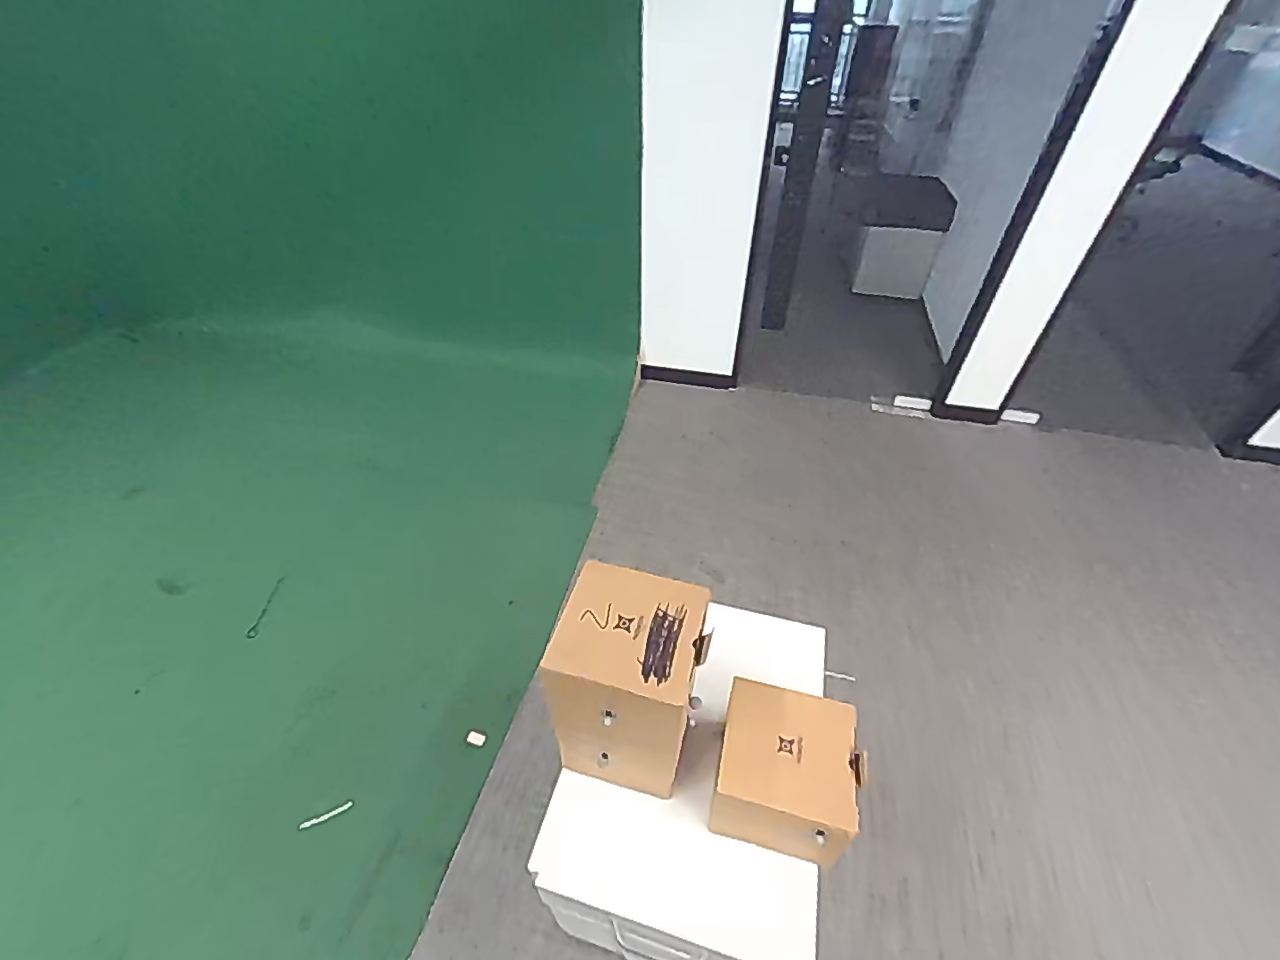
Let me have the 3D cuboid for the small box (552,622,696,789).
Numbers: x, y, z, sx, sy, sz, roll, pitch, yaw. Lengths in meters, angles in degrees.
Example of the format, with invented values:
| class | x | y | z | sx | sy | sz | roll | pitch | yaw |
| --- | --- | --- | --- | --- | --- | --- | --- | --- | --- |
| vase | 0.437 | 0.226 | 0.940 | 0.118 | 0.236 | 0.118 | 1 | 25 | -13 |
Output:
| class | x | y | z | sx | sy | sz | roll | pitch | yaw |
| --- | --- | --- | --- | --- | --- | --- | --- | --- | --- |
| small box | -0.019 | 0.352 | 0.839 | 0.179 | 0.176 | 0.168 | 11 | 45 | 10 |
